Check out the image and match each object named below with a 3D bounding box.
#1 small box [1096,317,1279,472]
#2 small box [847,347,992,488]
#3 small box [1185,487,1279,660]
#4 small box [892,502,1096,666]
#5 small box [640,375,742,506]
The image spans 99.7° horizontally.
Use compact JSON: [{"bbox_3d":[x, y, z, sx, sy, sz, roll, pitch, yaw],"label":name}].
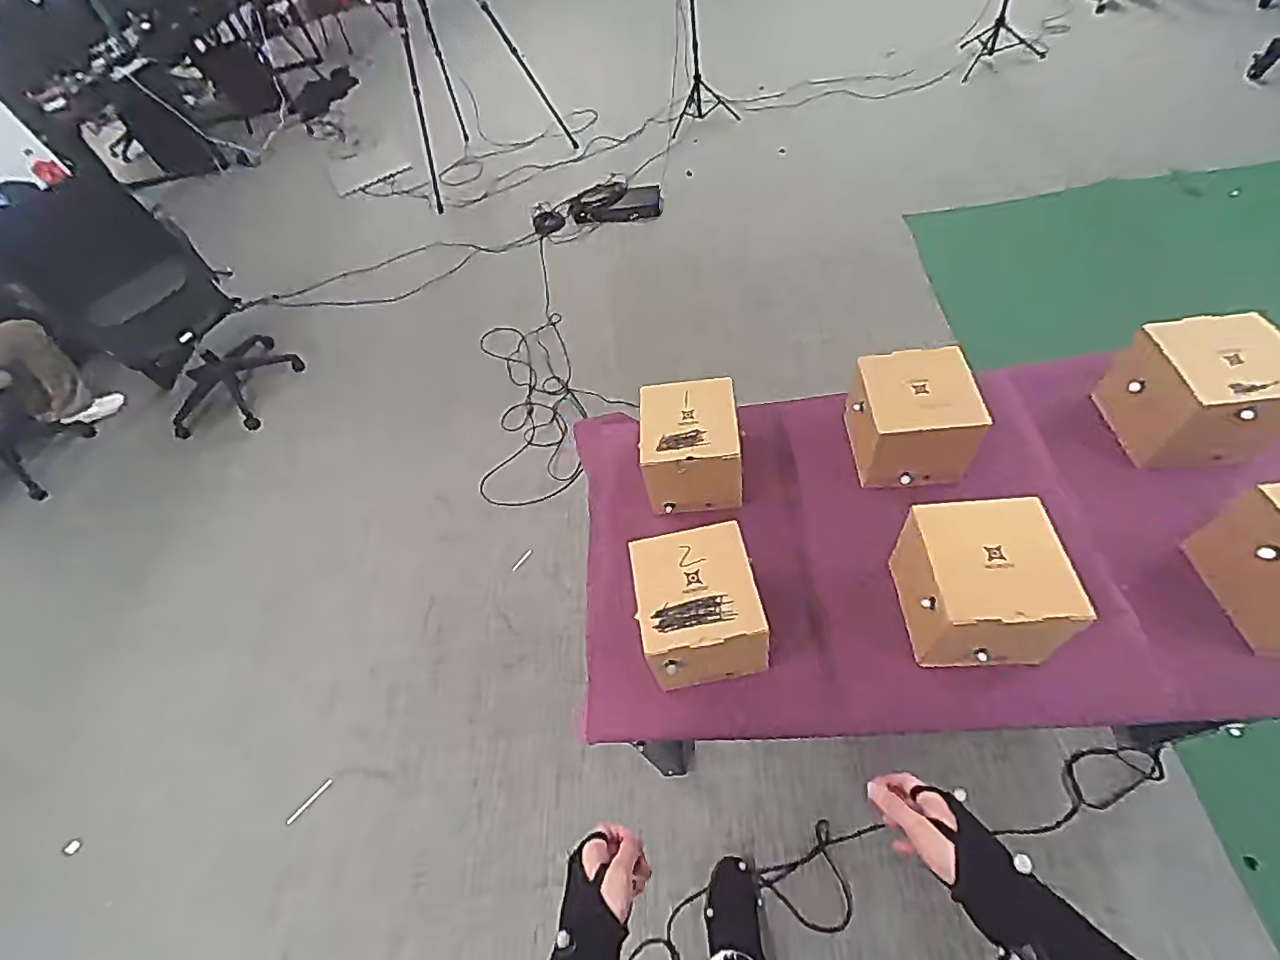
[{"bbox_3d":[0.898,-0.134,0.876,0.168,0.176,0.179,-5,56,8],"label":"small box"},{"bbox_3d":[0.467,-0.104,0.938,0.168,0.176,0.179,-4,57,9],"label":"small box"},{"bbox_3d":[0.890,0.119,0.705,0.168,0.176,0.179,-7,56,8],"label":"small box"},{"bbox_3d":[0.476,0.151,0.765,0.168,0.176,0.179,-4,55,7],"label":"small box"},{"bbox_3d":[0.094,-0.062,0.974,0.168,0.176,0.179,-4,57,7],"label":"small box"}]
